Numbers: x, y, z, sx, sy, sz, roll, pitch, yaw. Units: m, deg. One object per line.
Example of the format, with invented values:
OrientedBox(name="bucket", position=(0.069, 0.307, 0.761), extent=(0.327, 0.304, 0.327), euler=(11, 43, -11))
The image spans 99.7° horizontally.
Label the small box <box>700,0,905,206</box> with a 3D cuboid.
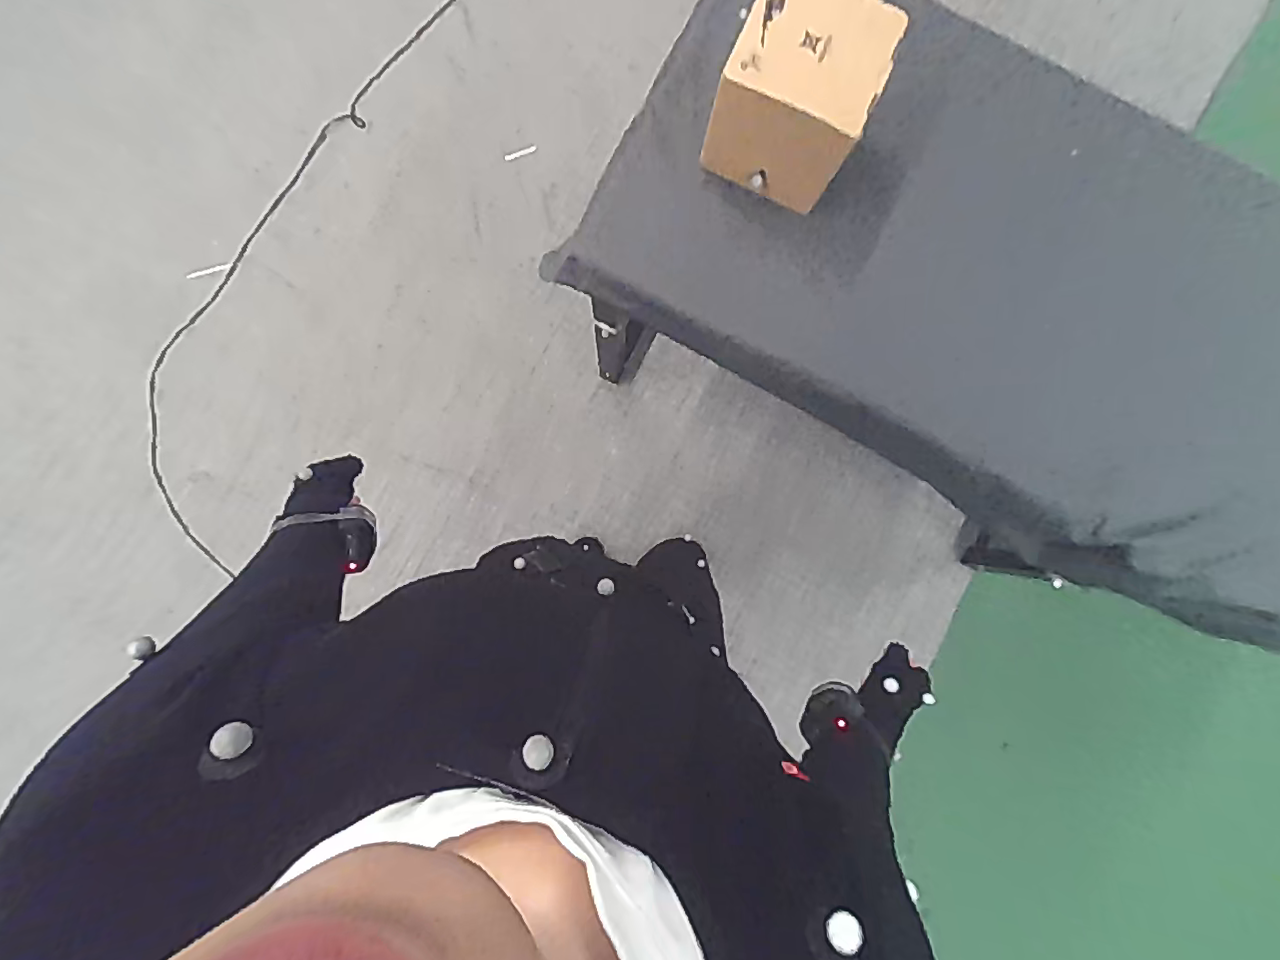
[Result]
OrientedBox(name="small box", position=(0.199, -0.498, 0.712), extent=(0.179, 0.176, 0.168), euler=(24, 86, -2))
